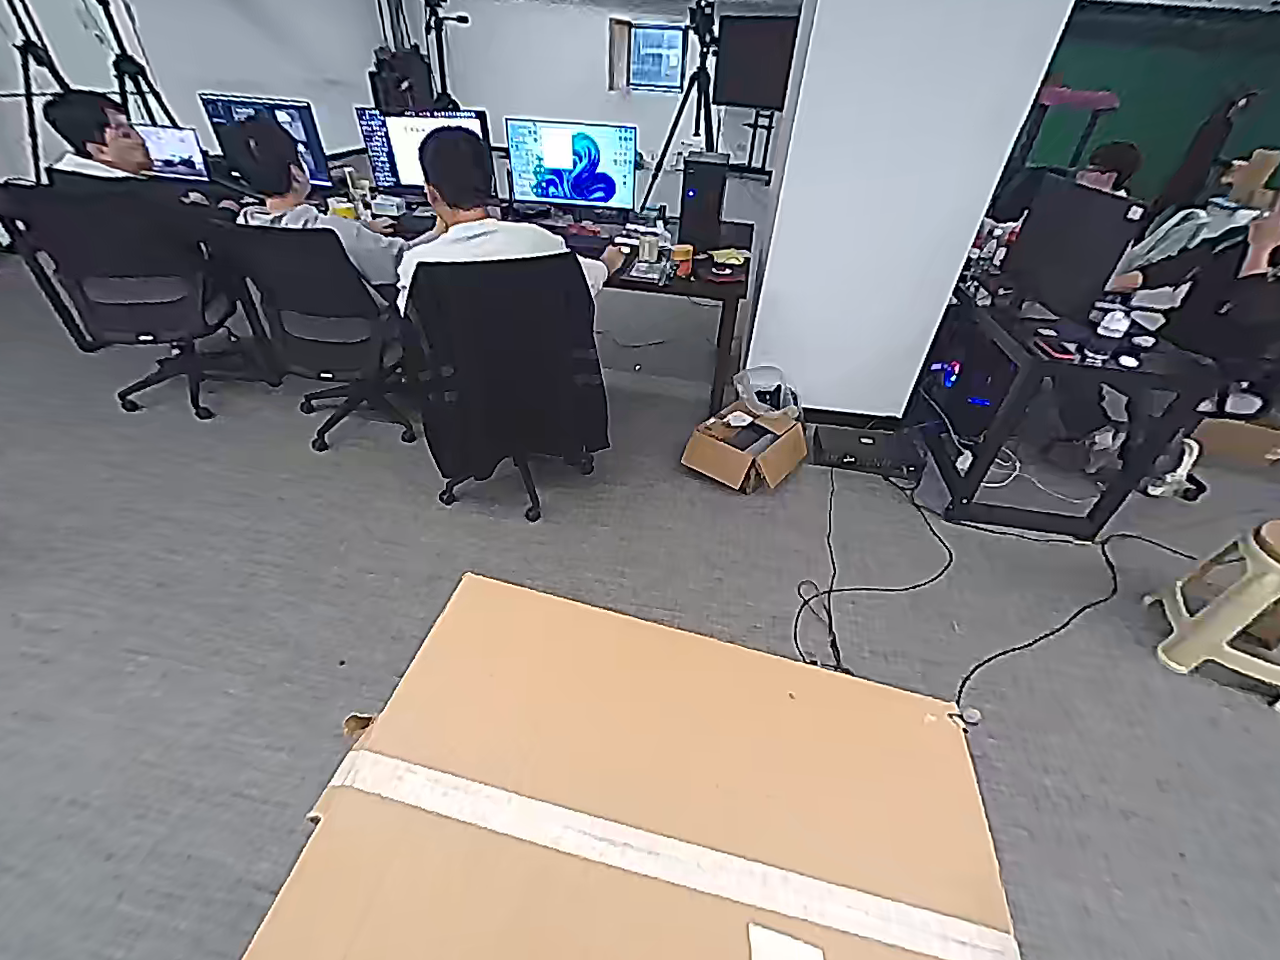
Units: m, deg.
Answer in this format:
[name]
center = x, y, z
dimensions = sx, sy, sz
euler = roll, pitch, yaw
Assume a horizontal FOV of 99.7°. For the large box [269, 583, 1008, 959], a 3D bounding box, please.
[large box]
center = -0.001, 0.337, 0.426
dimensions = 0.408, 0.320, 0.320
euler = 15, 42, 3
